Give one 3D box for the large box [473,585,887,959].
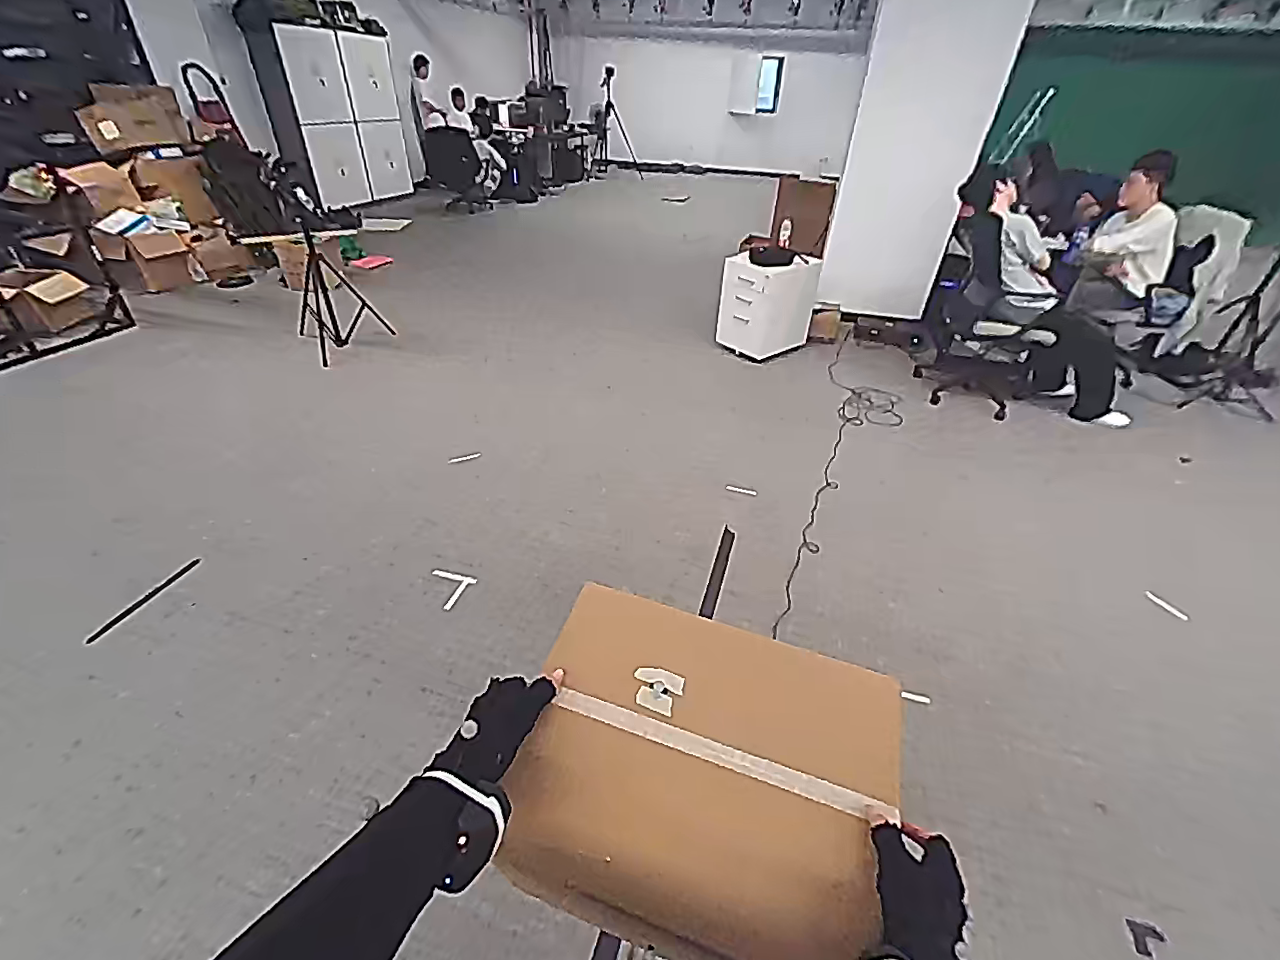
[{"bbox_3d":[0.066,0.393,0.706,0.408,0.320,0.320,14,47,13],"label":"large box"}]
